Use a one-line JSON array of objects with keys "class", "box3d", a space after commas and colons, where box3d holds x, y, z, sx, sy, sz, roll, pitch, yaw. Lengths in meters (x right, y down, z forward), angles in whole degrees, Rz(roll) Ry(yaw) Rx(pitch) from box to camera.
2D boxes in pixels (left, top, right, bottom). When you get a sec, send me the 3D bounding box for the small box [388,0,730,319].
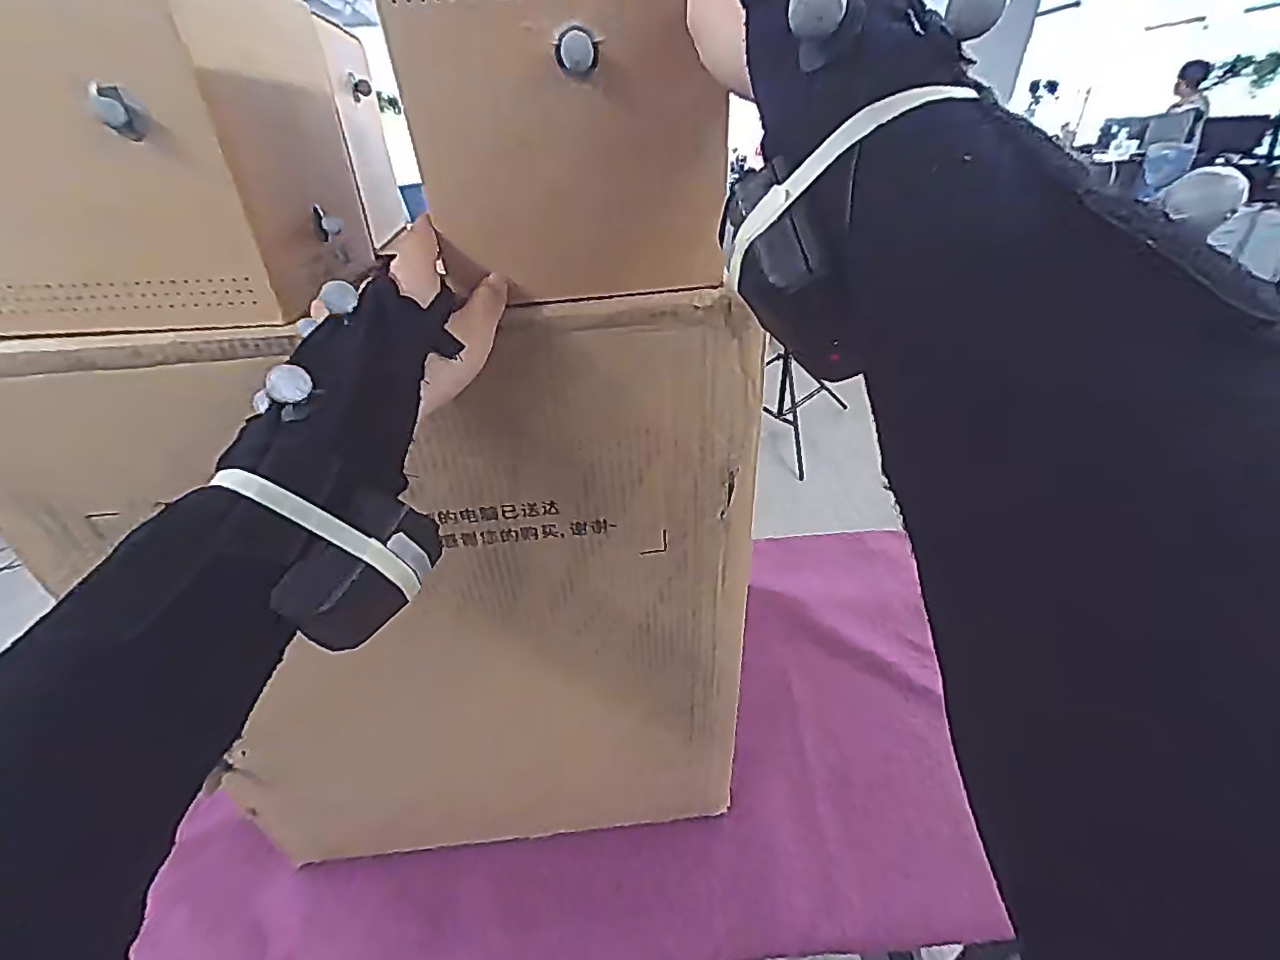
[{"class": "small box", "box3d": [-0.040, -0.219, 0.349, 0.168, 0.176, 0.179, -7, 34, -3]}]
